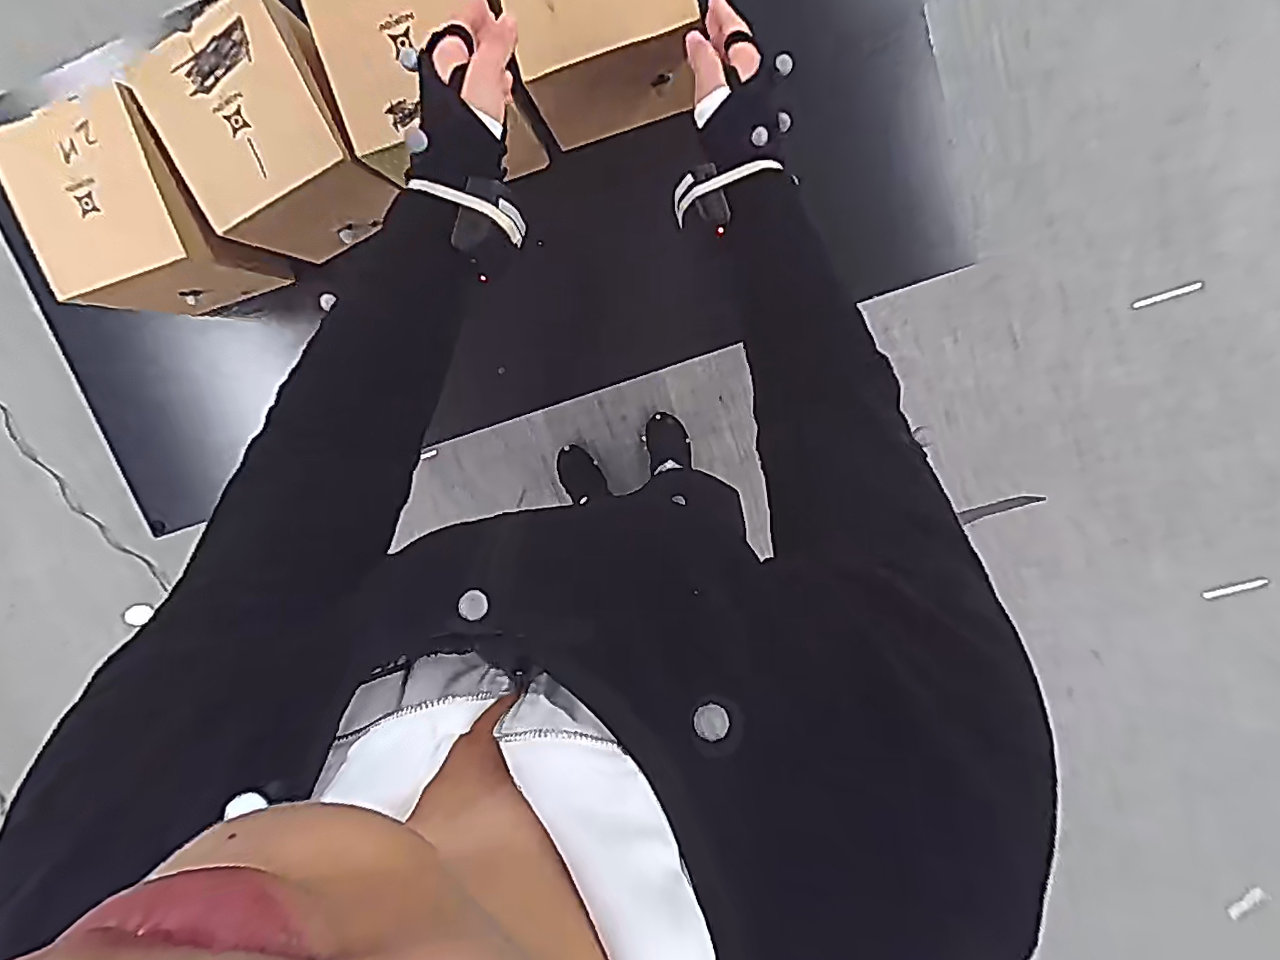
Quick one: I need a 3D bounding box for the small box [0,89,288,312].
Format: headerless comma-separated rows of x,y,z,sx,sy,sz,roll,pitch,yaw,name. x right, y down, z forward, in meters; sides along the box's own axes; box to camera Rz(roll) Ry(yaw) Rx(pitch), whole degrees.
-0.569,-0.308,0.644,0.168,0.176,0.179,-15,99,6,small box
